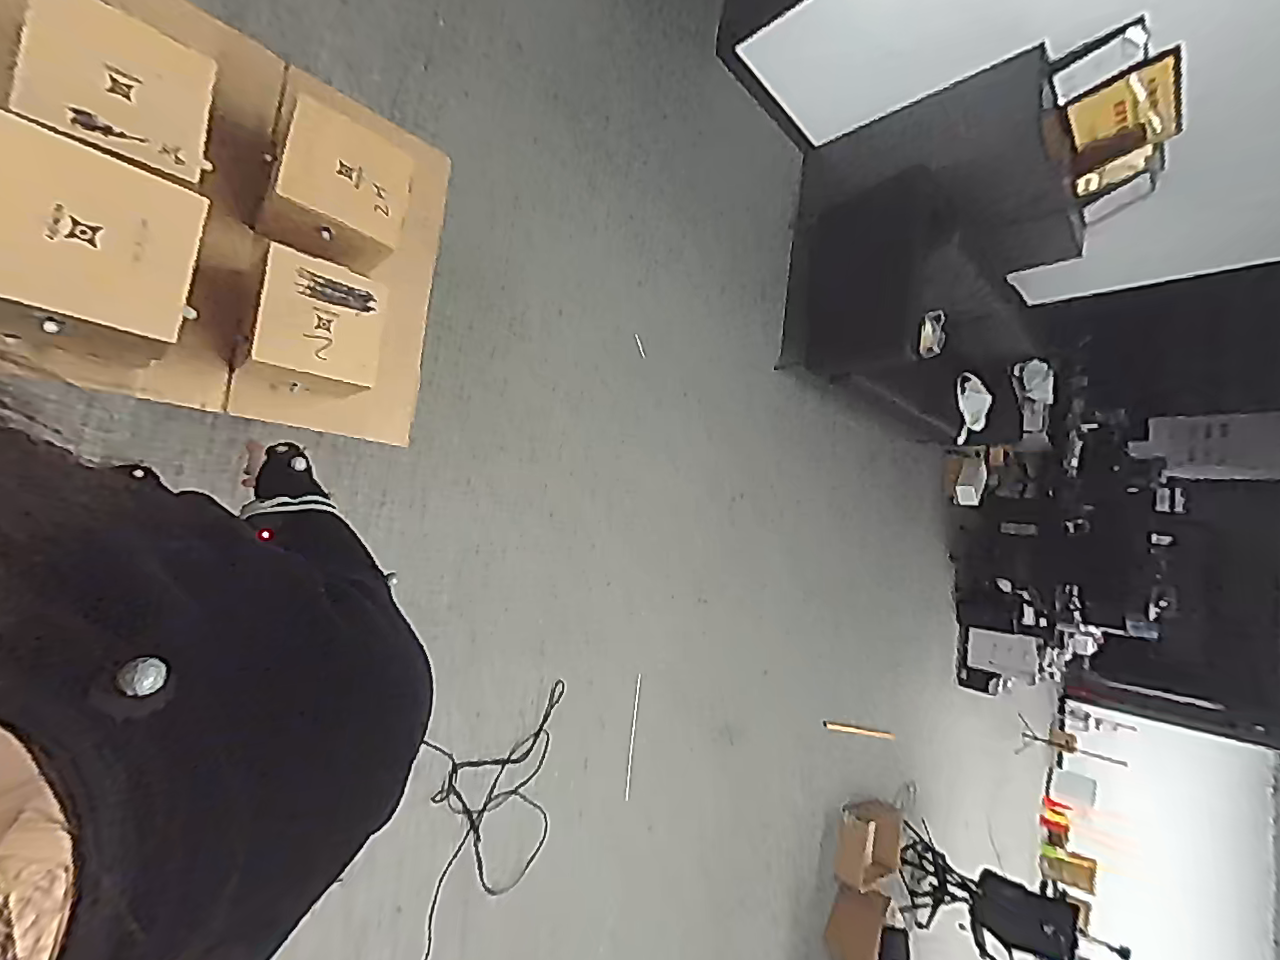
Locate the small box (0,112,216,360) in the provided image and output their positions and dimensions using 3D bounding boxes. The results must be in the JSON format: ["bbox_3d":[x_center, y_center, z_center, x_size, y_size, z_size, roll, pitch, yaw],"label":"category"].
[{"bbox_3d":[-0.589,-0.238,0.577,0.179,0.176,0.168,15,82,-43],"label":"small box"}]

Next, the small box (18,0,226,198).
[{"bbox_3d":[-0.674,-0.477,0.716,0.168,0.176,0.179,10,83,-42],"label":"small box"}]
